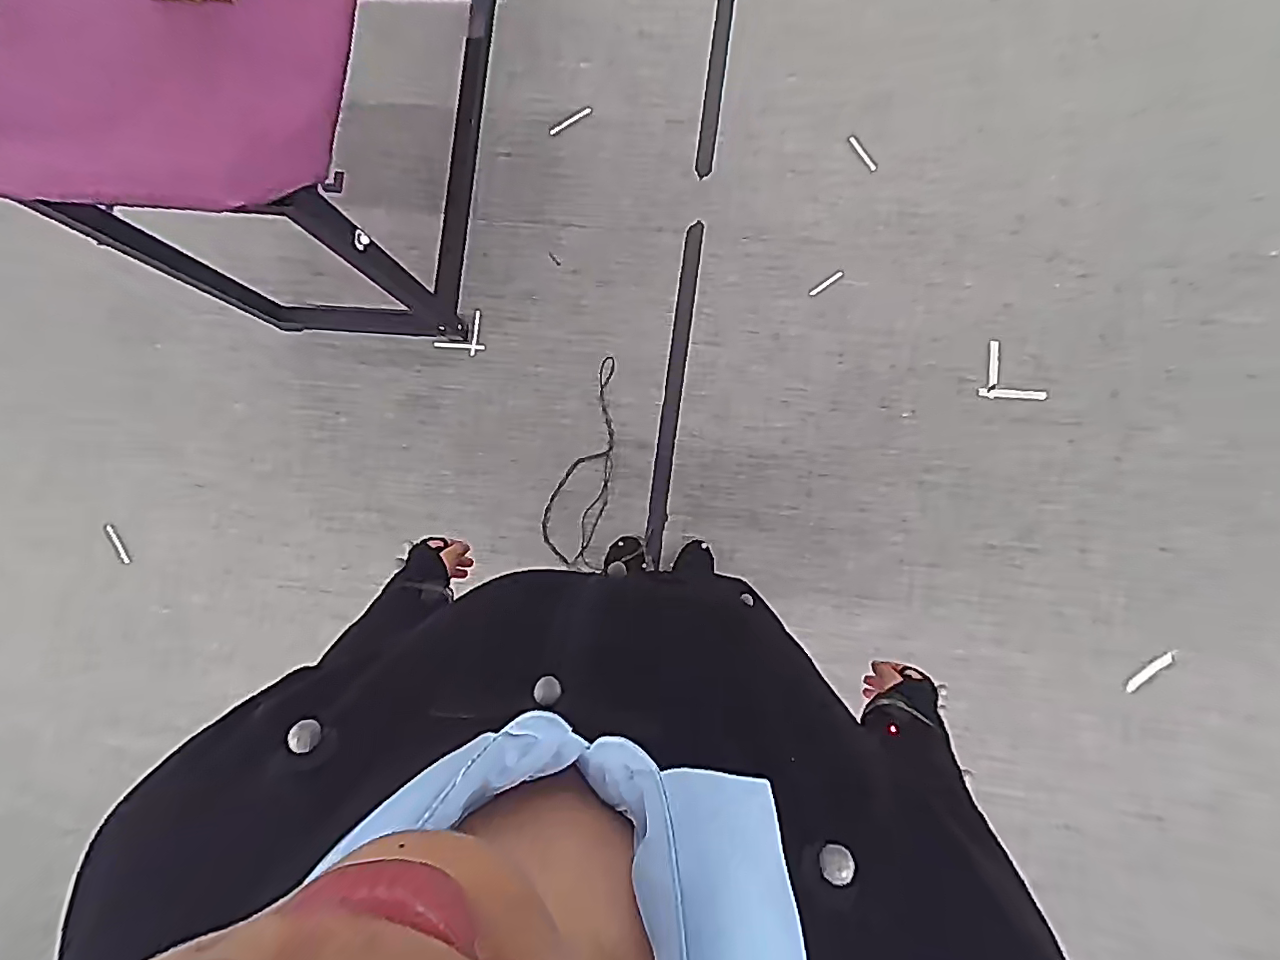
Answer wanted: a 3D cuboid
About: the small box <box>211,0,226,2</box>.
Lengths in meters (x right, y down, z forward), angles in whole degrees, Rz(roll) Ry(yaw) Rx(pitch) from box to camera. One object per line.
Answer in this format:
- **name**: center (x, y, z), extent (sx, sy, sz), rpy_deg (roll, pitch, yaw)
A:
- **small box**: center (-0.747, -0.897, 0.830), extent (0.168, 0.176, 0.179), rpy_deg (7, 86, 5)
